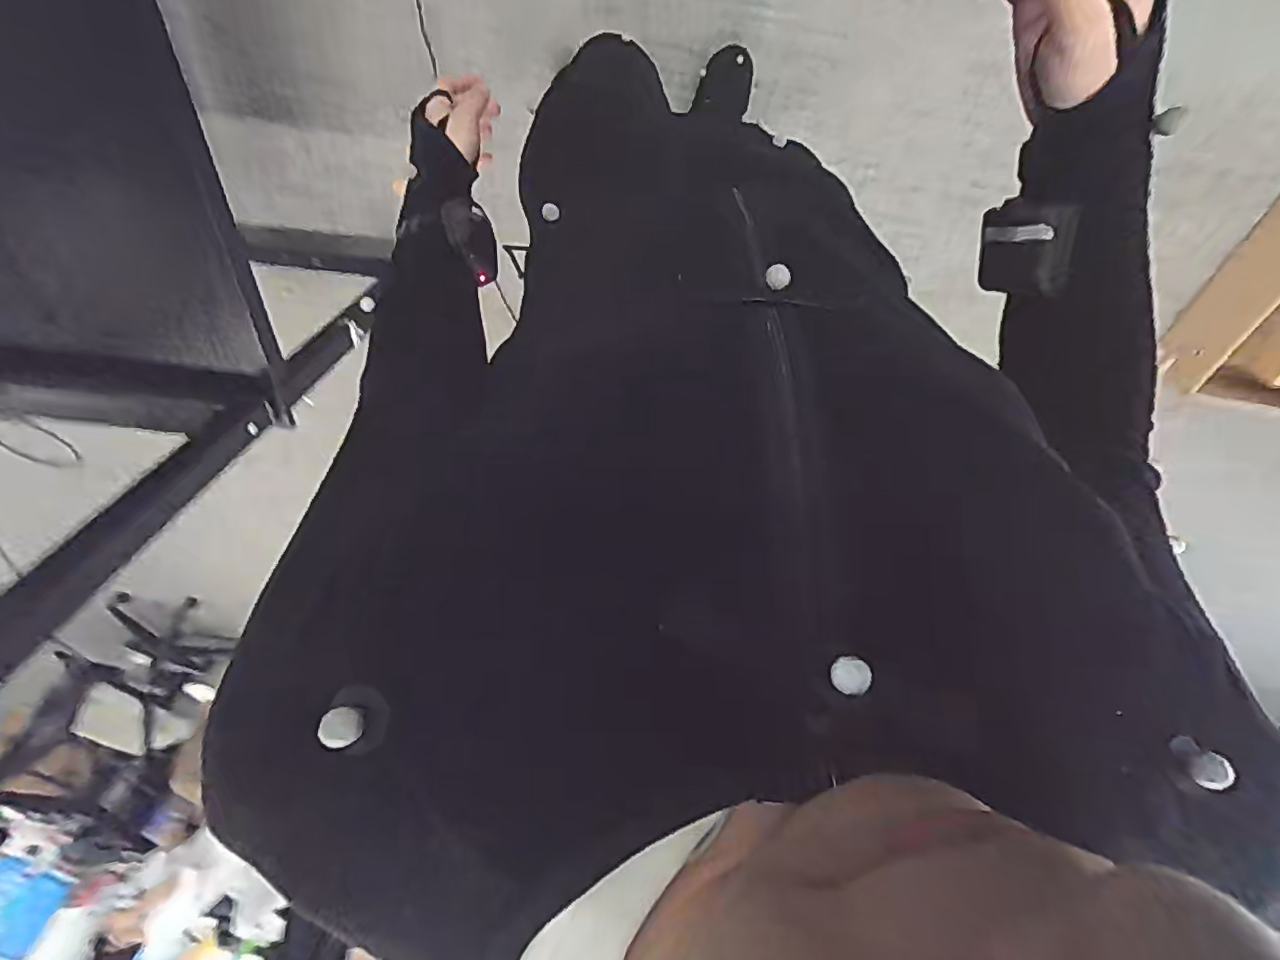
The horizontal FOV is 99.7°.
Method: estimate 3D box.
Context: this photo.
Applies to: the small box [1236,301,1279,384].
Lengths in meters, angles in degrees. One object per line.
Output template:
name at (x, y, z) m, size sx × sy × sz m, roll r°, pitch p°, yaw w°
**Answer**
small box at (1.664, -0.343, 1.336) m, size 0.179 × 0.176 × 0.168 m, roll -4°, pitch 128°, yaw 8°
